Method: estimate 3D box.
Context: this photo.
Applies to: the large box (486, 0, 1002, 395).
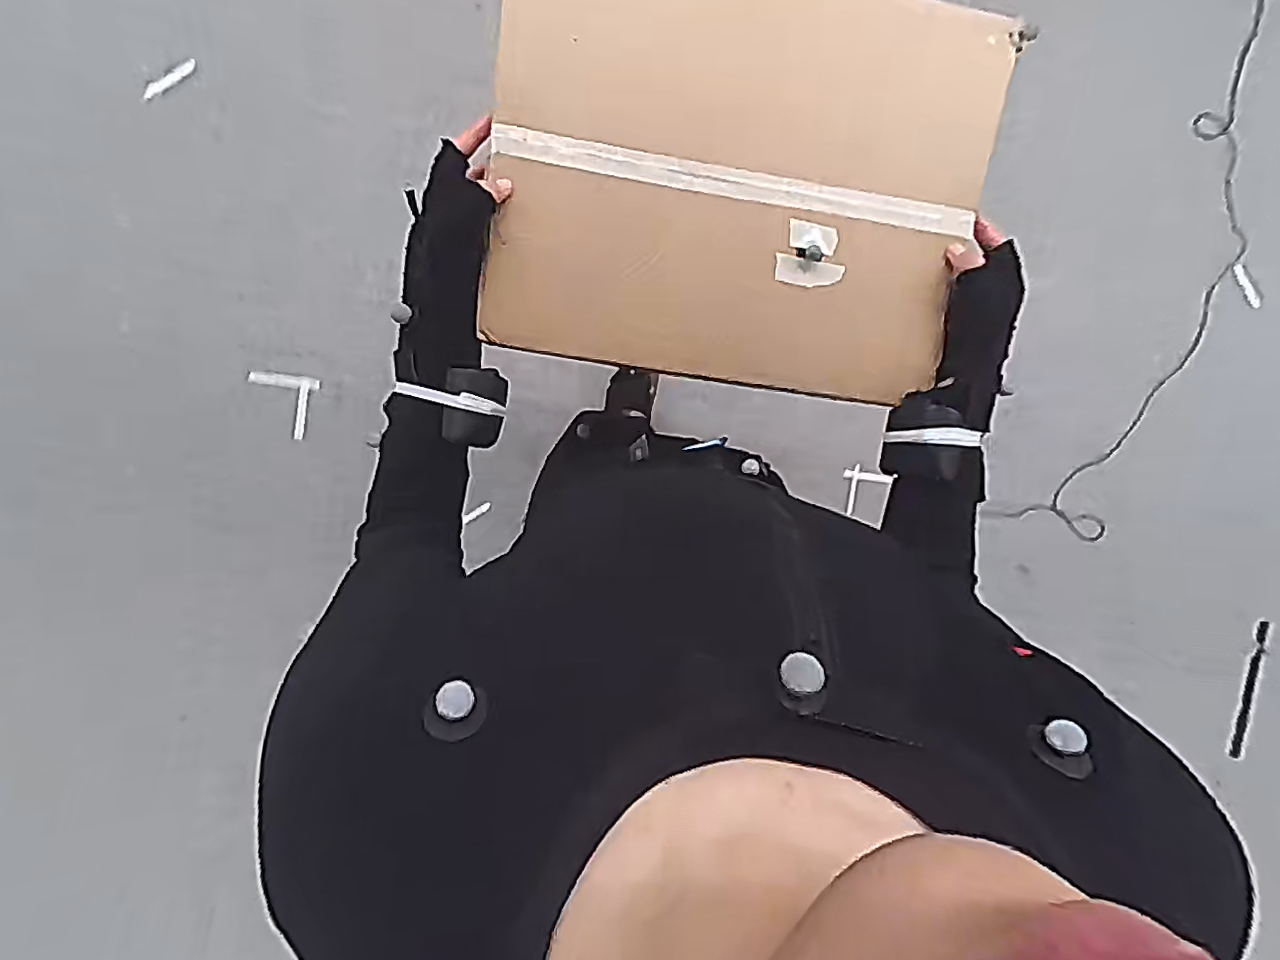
[{"bbox_3d":[0.070,-0.281,0.598,0.408,0.320,0.320,8,102,-6],"label":"large box"}]
